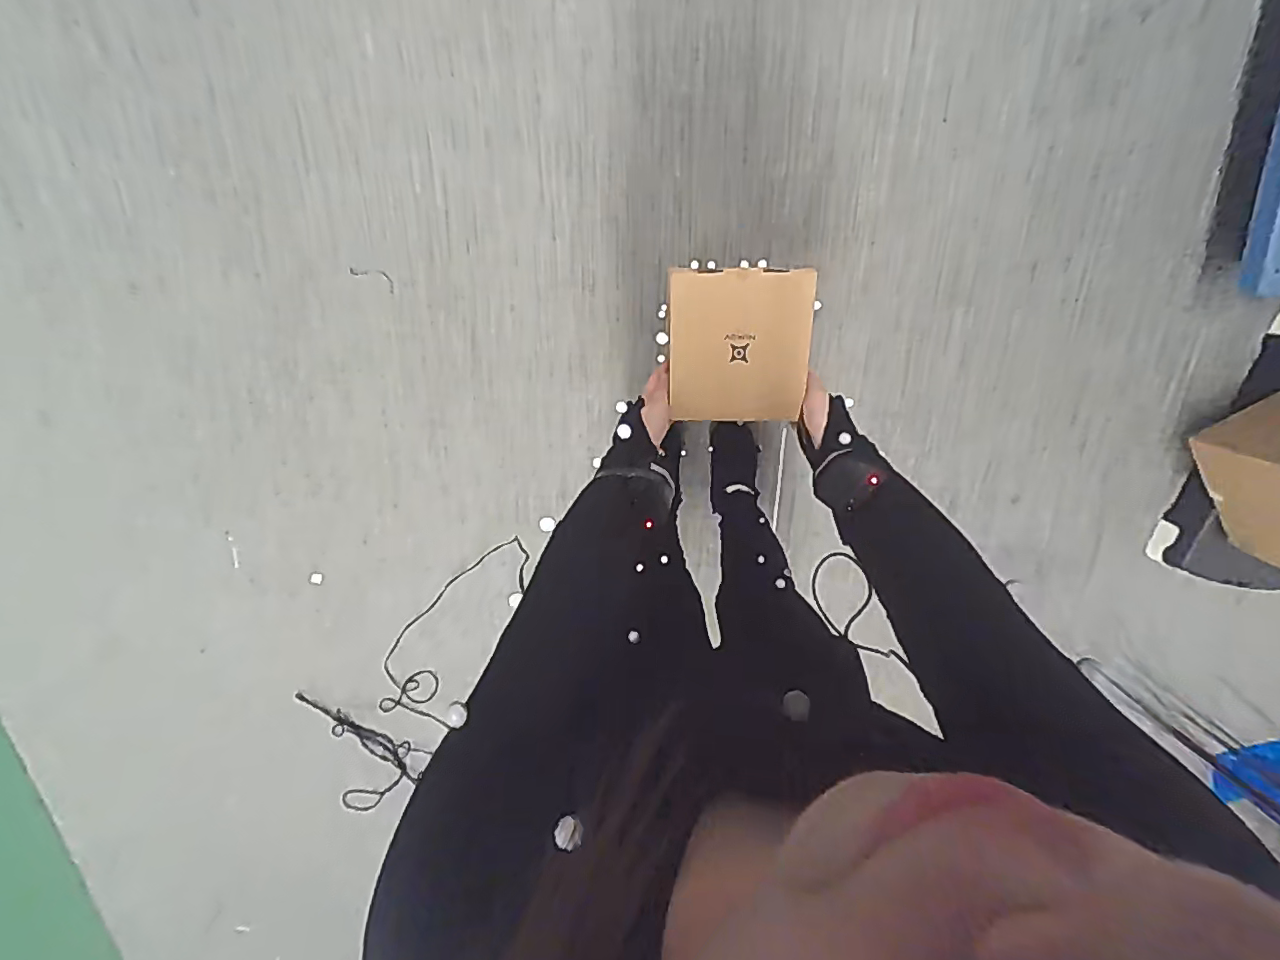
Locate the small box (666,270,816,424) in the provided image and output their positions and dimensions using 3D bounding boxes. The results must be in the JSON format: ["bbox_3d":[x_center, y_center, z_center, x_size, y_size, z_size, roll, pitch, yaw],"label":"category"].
[{"bbox_3d":[0.120,-0.180,0.708,0.168,0.176,0.179,1,110,3],"label":"small box"}]

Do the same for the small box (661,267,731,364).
[{"bbox_3d":[0.133,-0.304,1.010,0.179,0.176,0.168,3,111,2],"label":"small box"}]
